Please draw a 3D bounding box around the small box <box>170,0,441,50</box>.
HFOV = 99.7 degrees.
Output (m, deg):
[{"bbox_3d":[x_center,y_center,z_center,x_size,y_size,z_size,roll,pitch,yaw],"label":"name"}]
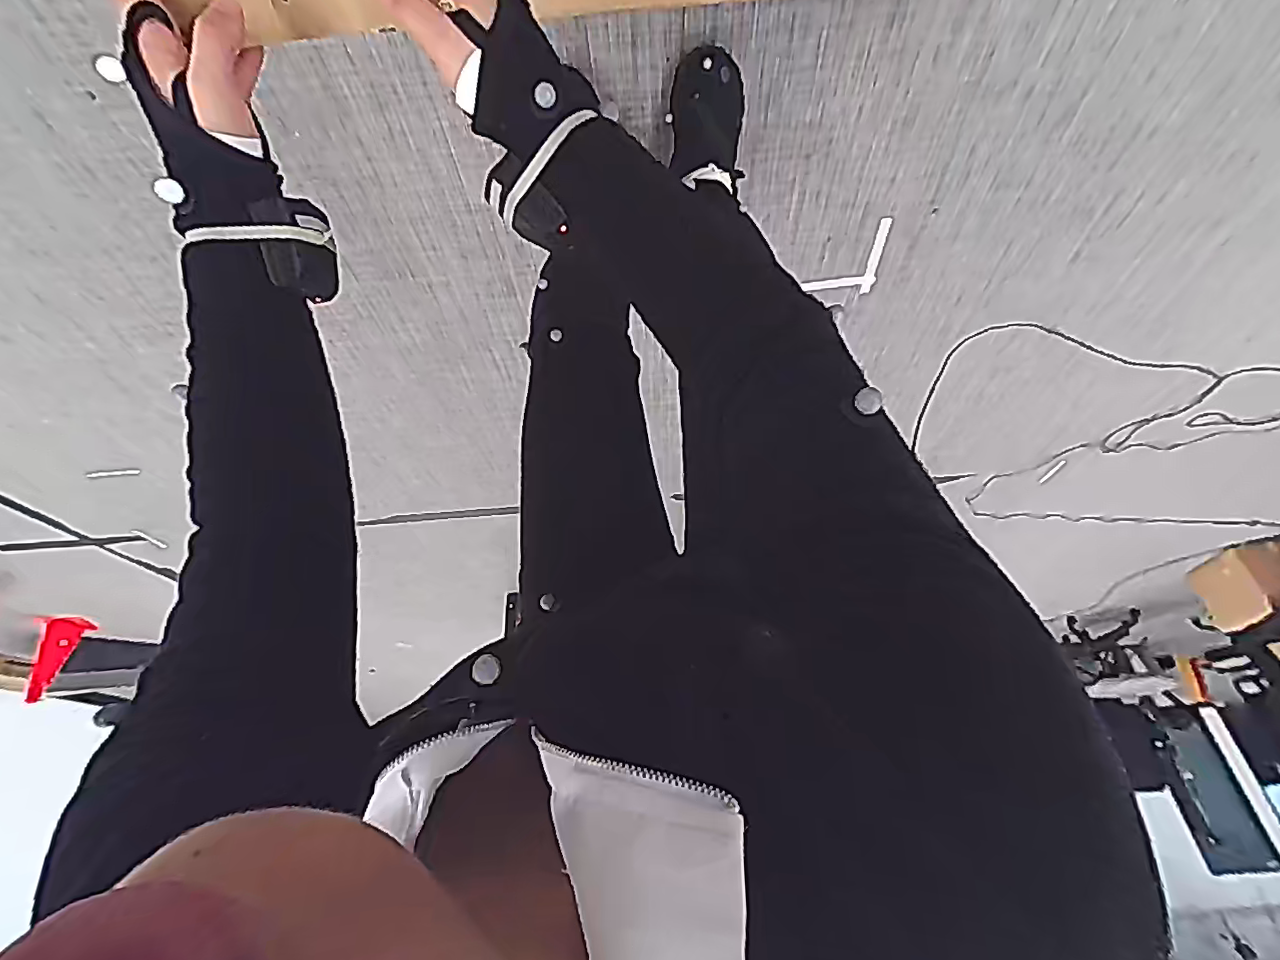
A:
[{"bbox_3d":[-0.237,-0.423,0.355,0.168,0.176,0.179,-4,144,3],"label":"small box"}]
